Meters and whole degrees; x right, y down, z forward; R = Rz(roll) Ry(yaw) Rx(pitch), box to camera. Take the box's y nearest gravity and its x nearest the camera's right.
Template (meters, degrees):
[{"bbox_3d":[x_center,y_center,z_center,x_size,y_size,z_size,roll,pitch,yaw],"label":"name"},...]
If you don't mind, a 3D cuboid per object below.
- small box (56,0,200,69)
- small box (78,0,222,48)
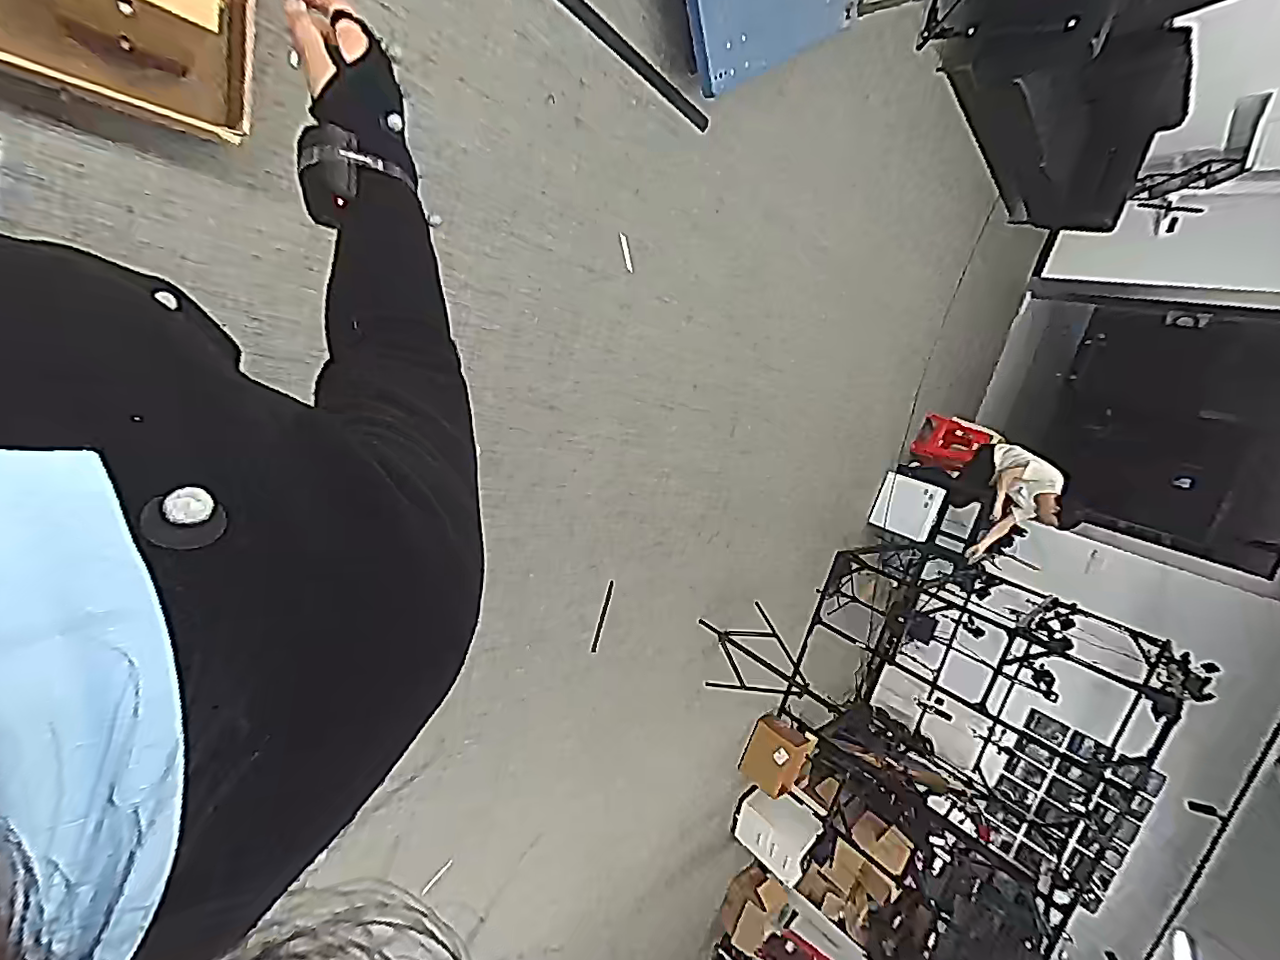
[{"bbox_3d":[-0.809,-0.798,0.859,0.168,0.176,0.179,0,108,-47],"label":"small box"},{"bbox_3d":[-0.701,-0.743,0.751,0.179,0.176,0.168,0,109,-45],"label":"small box"}]
